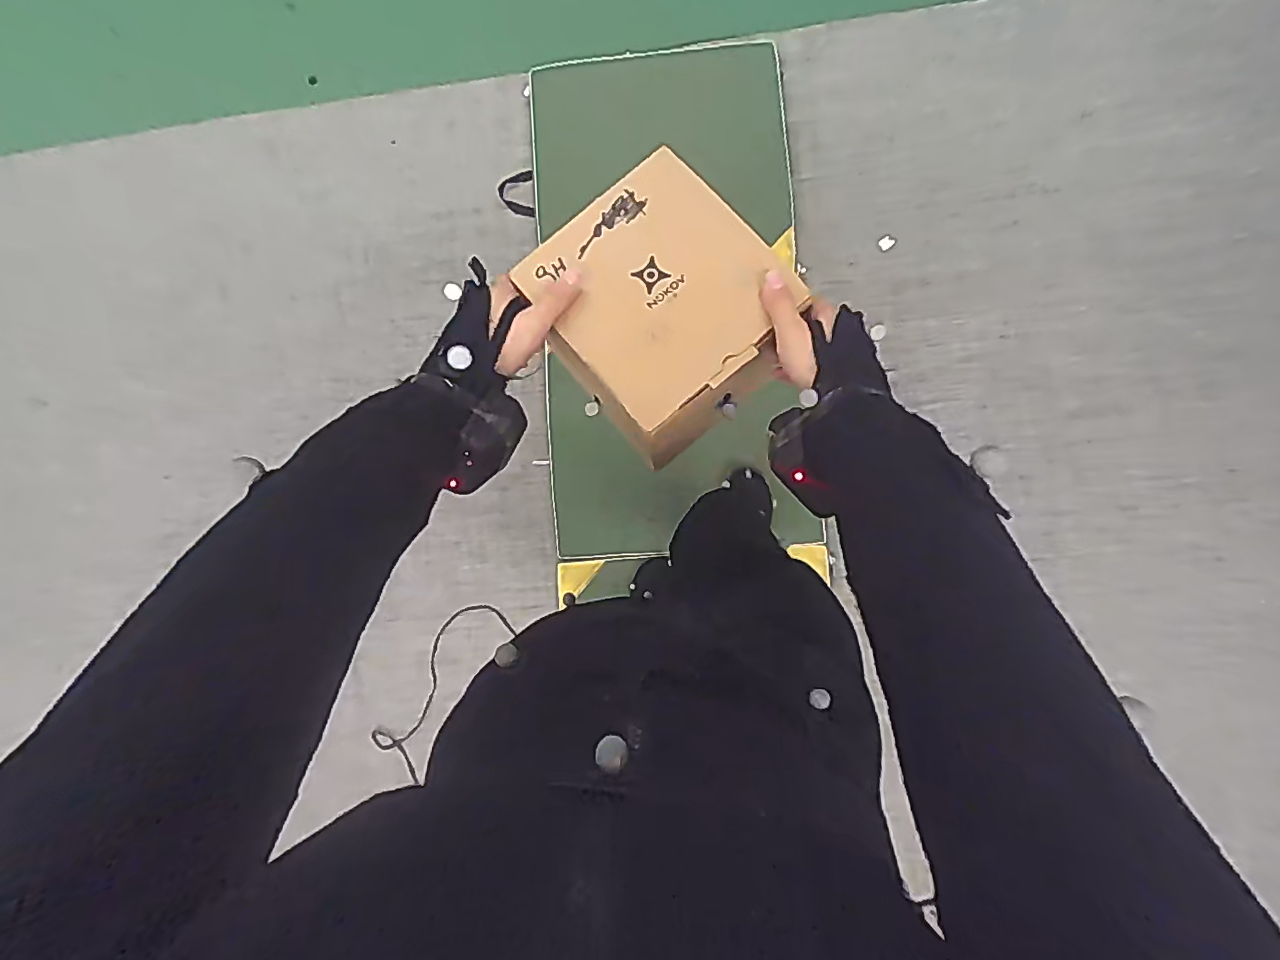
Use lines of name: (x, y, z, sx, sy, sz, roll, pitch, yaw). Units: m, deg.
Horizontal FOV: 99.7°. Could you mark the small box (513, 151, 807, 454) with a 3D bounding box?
small box: (0.018, -0.140, 0.498, 0.168, 0.176, 0.179, -40, 82, -3)
